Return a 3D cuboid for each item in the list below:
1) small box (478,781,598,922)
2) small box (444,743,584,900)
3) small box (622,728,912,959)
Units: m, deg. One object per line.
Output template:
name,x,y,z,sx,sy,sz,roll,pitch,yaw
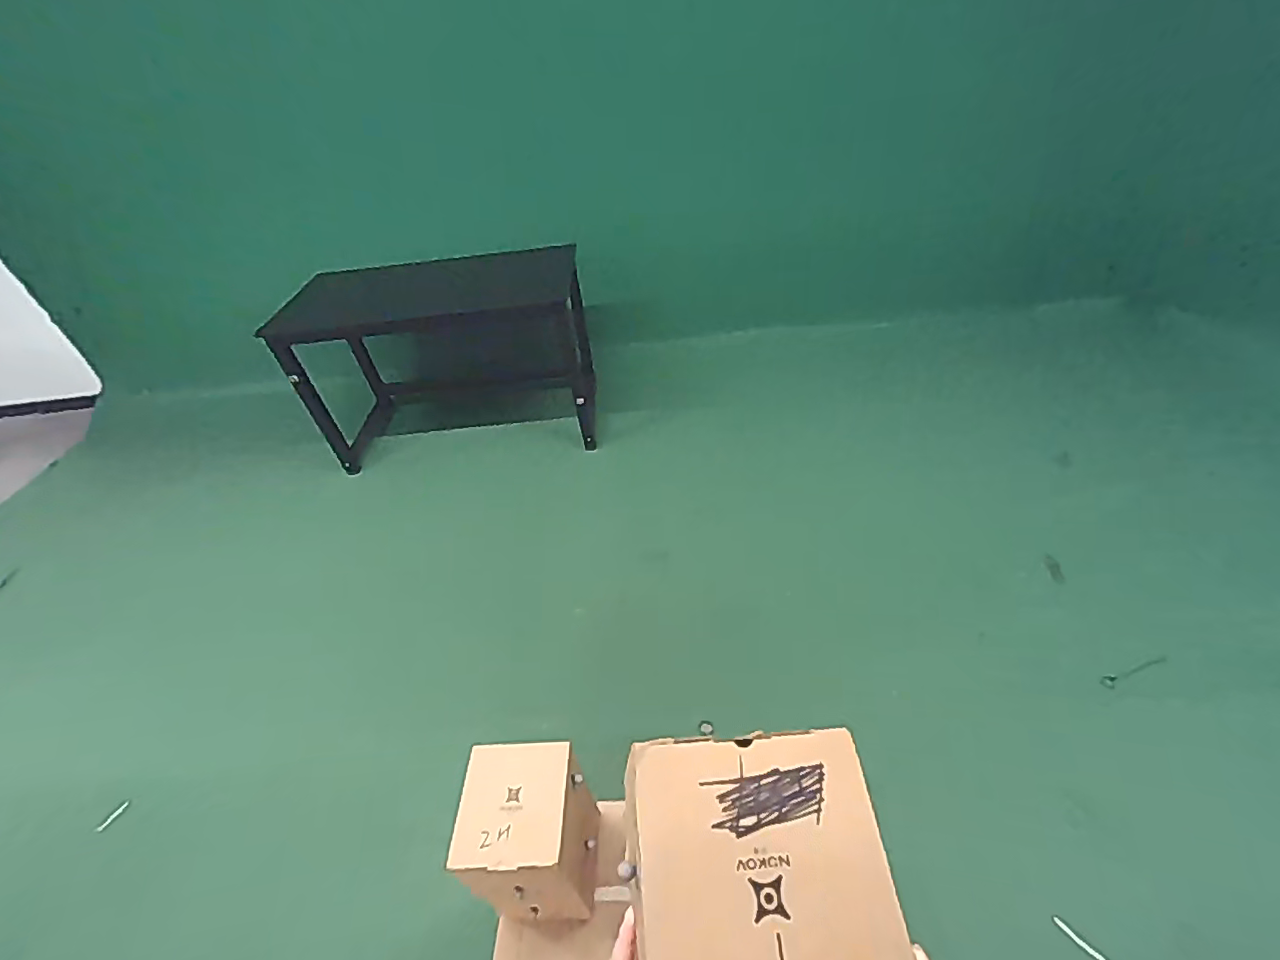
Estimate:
small box,-0.173,0.671,0.980,0.168,0.176,0.179,-3,41,5
small box,-0.188,0.549,0.871,0.168,0.176,0.179,-4,41,4
small box,0.073,0.300,0.404,0.168,0.176,0.179,-2,55,-4
